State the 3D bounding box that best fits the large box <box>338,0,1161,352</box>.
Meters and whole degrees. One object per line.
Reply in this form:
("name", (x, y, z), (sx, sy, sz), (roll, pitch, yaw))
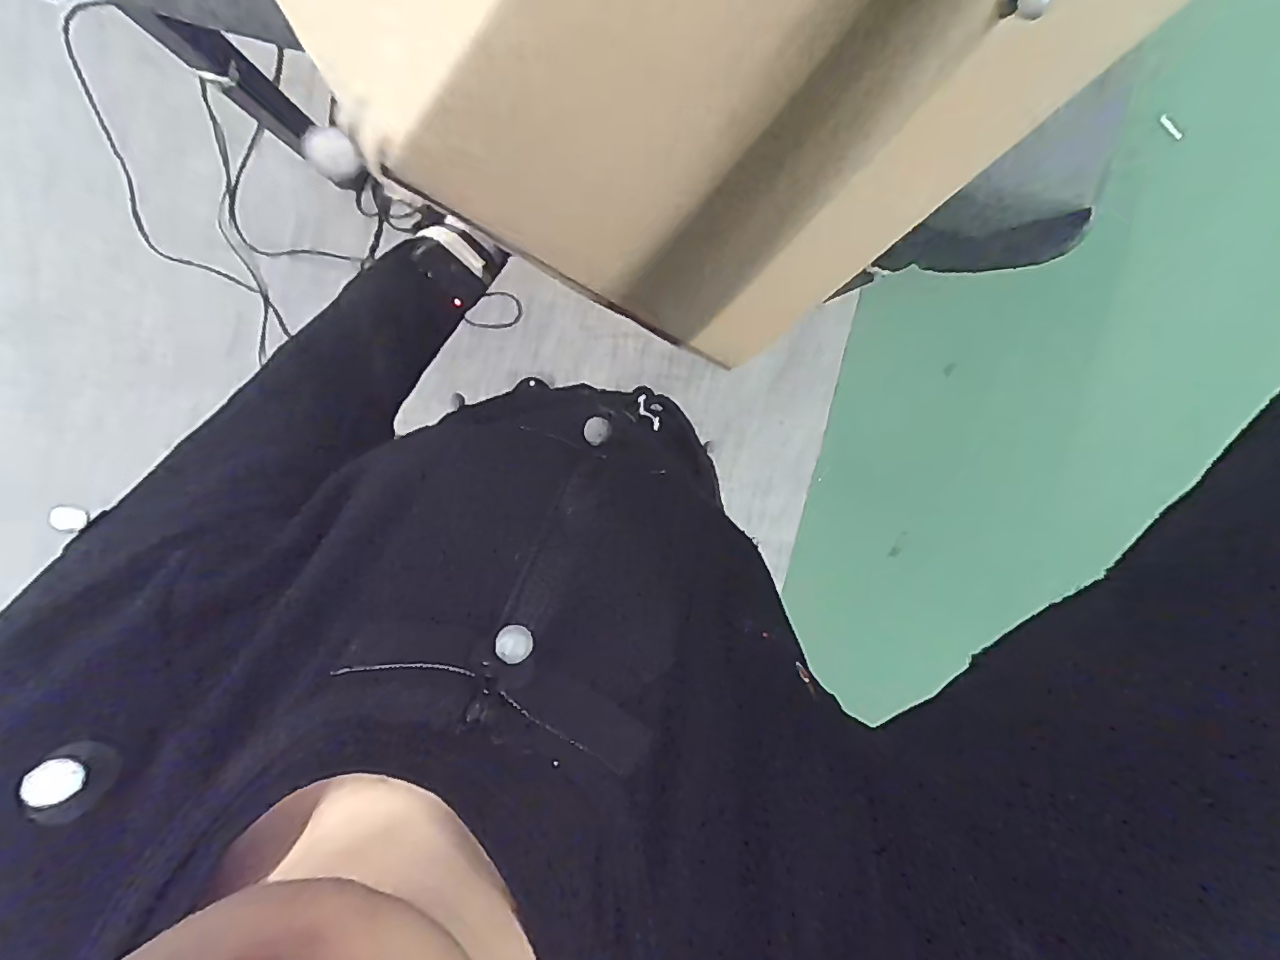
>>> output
("large box", (0.079, -0.332, 0.266), (0.408, 0.320, 0.320), (-41, 71, 24))
